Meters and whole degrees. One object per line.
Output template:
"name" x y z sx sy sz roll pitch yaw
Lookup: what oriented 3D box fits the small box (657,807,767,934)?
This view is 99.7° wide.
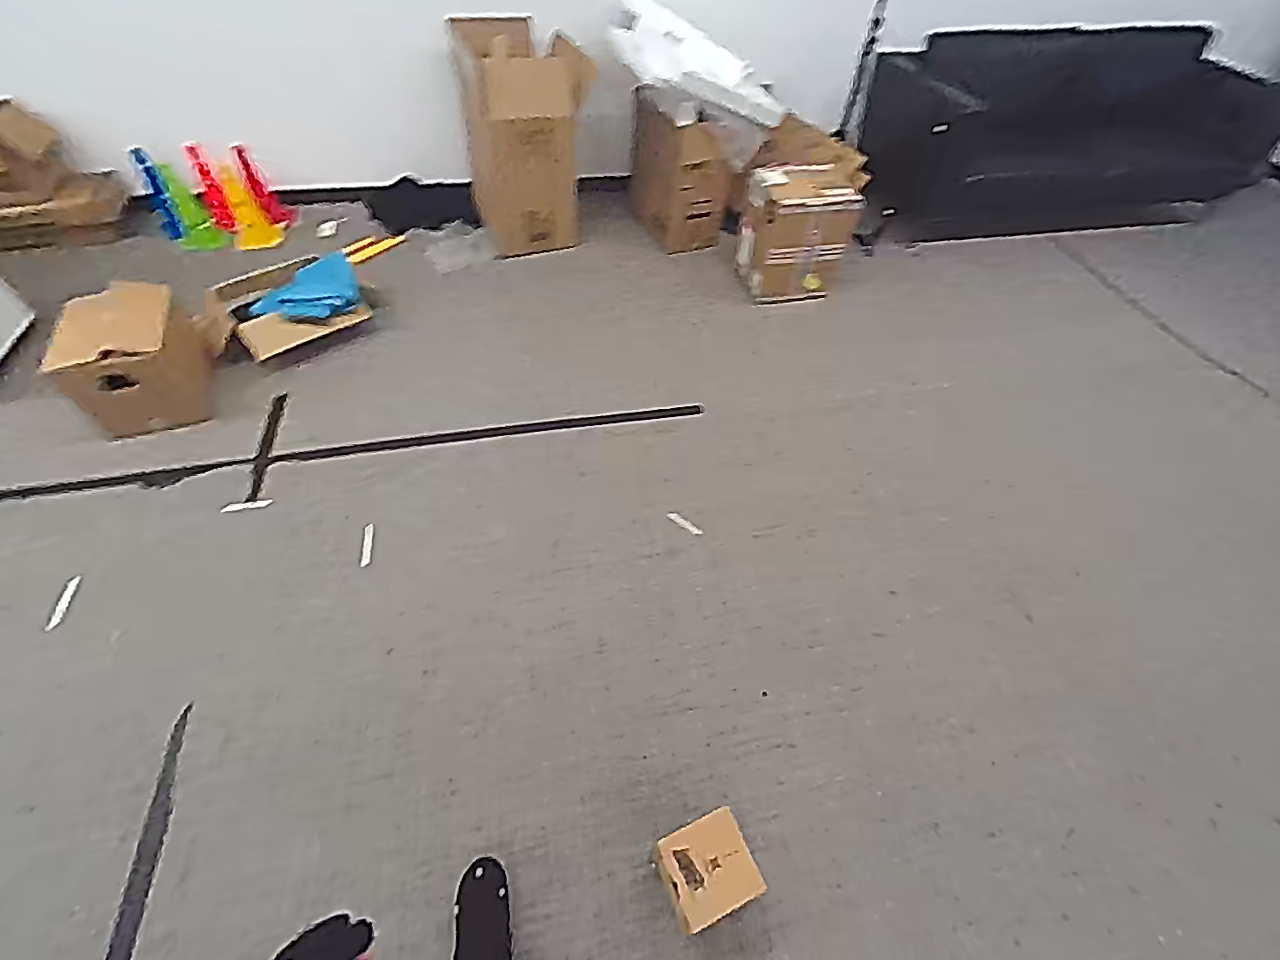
"small box" 0.143 0.843 1.166 0.179 0.176 0.168 -17 54 -18
